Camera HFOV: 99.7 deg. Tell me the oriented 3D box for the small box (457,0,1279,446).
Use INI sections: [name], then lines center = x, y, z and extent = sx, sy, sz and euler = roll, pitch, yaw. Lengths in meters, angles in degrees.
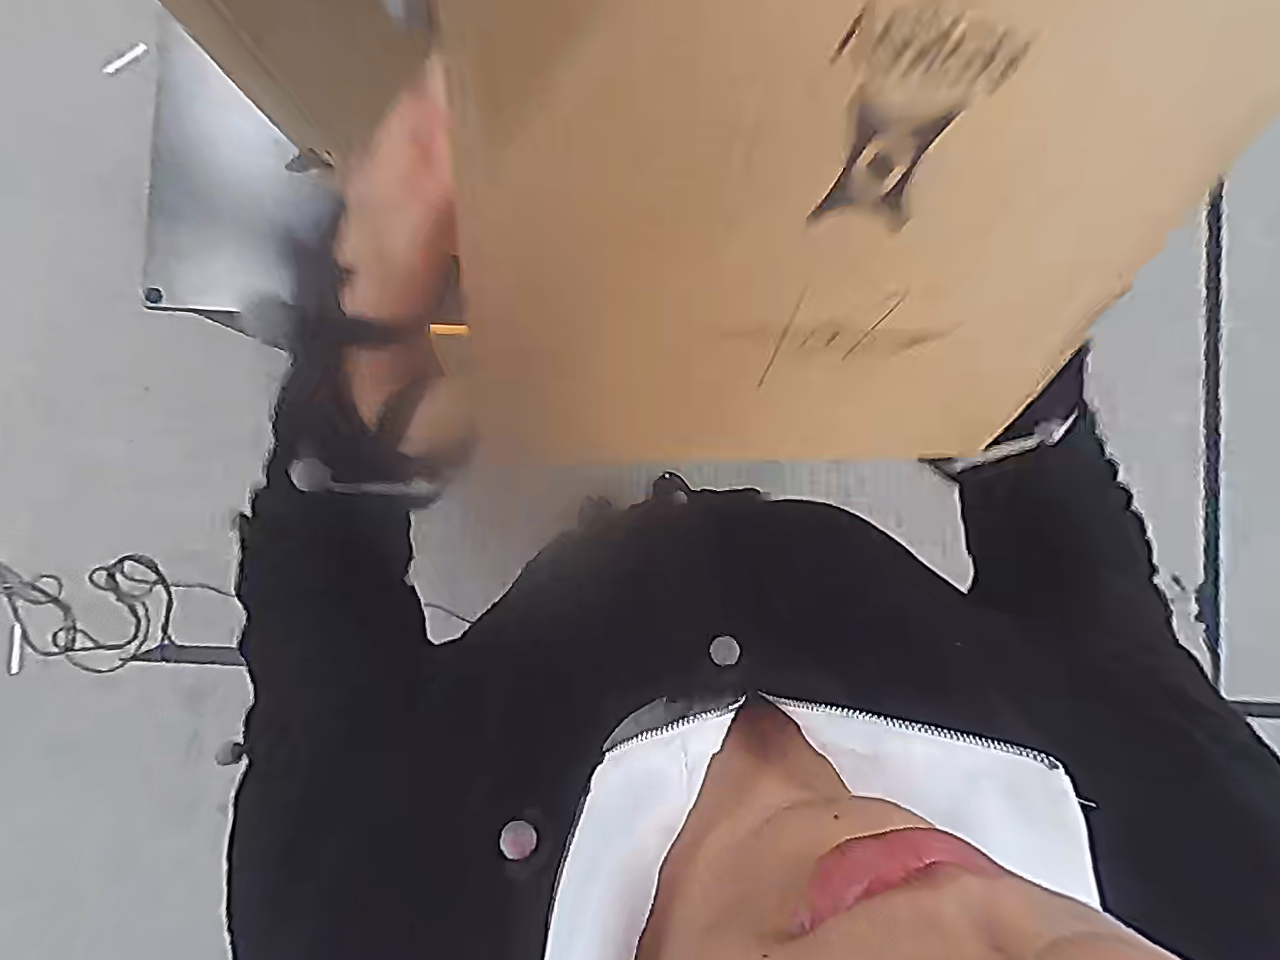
[small box]
center = 0.039, -0.129, 0.145
extent = 0.168, 0.179, 0.176
euler = -1, 52, -12
